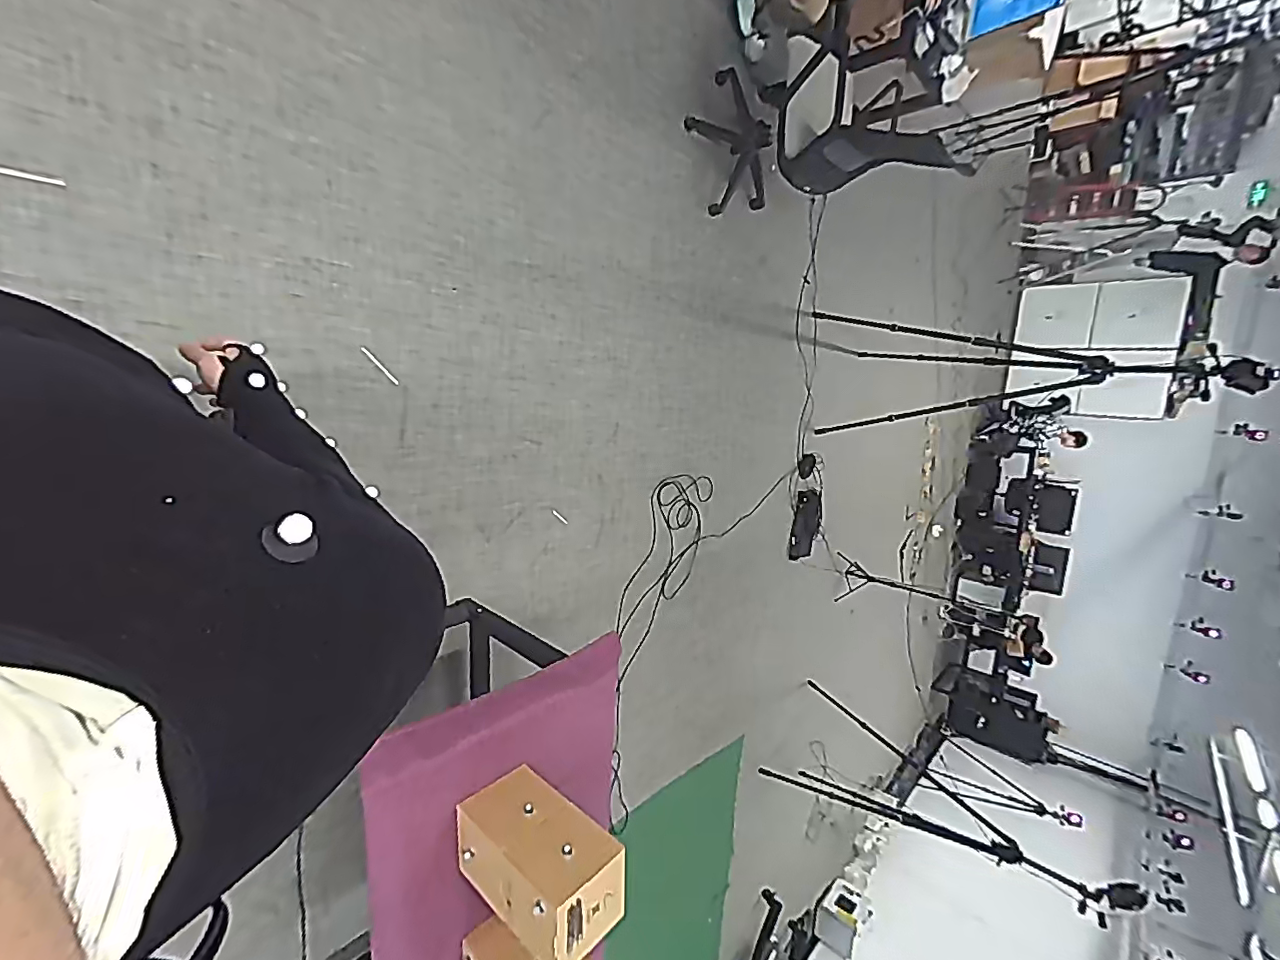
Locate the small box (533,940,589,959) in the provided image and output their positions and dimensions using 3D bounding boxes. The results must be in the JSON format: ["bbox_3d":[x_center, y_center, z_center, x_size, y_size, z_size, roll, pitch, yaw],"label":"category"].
[{"bbox_3d":[-0.173,1.120,1.126,0.168,0.176,0.179,-8,106,-46],"label":"small box"}]

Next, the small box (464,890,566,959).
[{"bbox_3d":[-0.290,1.094,1.237,0.179,0.176,0.168,-9,106,-47],"label":"small box"}]

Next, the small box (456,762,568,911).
[{"bbox_3d":[-0.277,0.754,1.169,0.179,0.176,0.168,-10,106,-46],"label":"small box"}]
